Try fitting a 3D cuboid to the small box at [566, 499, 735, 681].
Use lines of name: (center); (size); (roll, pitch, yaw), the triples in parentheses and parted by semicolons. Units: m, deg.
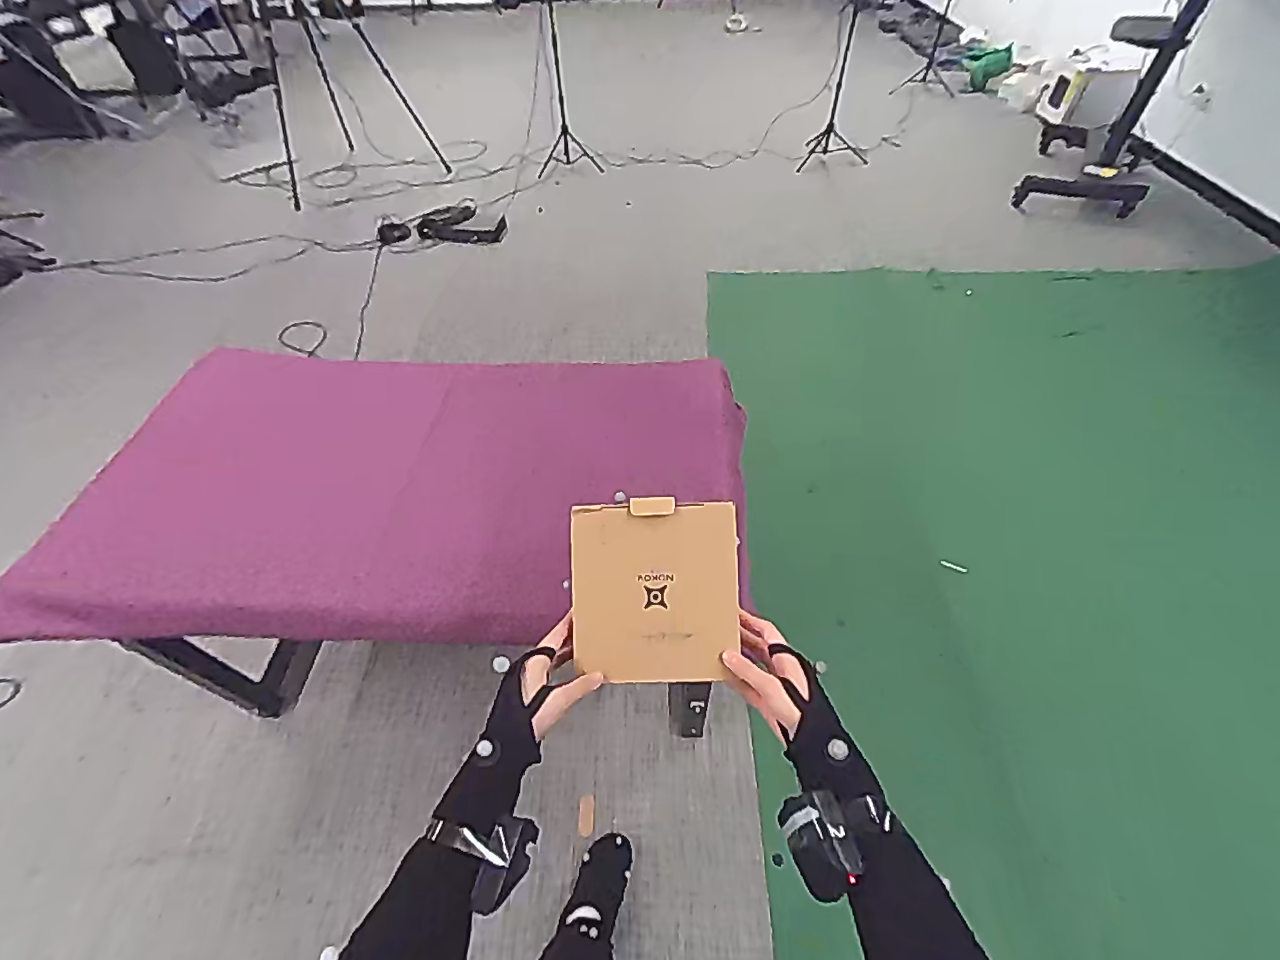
small box: (0.010, 0.113, 0.607); (0.168, 0.176, 0.179); (-1, 86, 1)
